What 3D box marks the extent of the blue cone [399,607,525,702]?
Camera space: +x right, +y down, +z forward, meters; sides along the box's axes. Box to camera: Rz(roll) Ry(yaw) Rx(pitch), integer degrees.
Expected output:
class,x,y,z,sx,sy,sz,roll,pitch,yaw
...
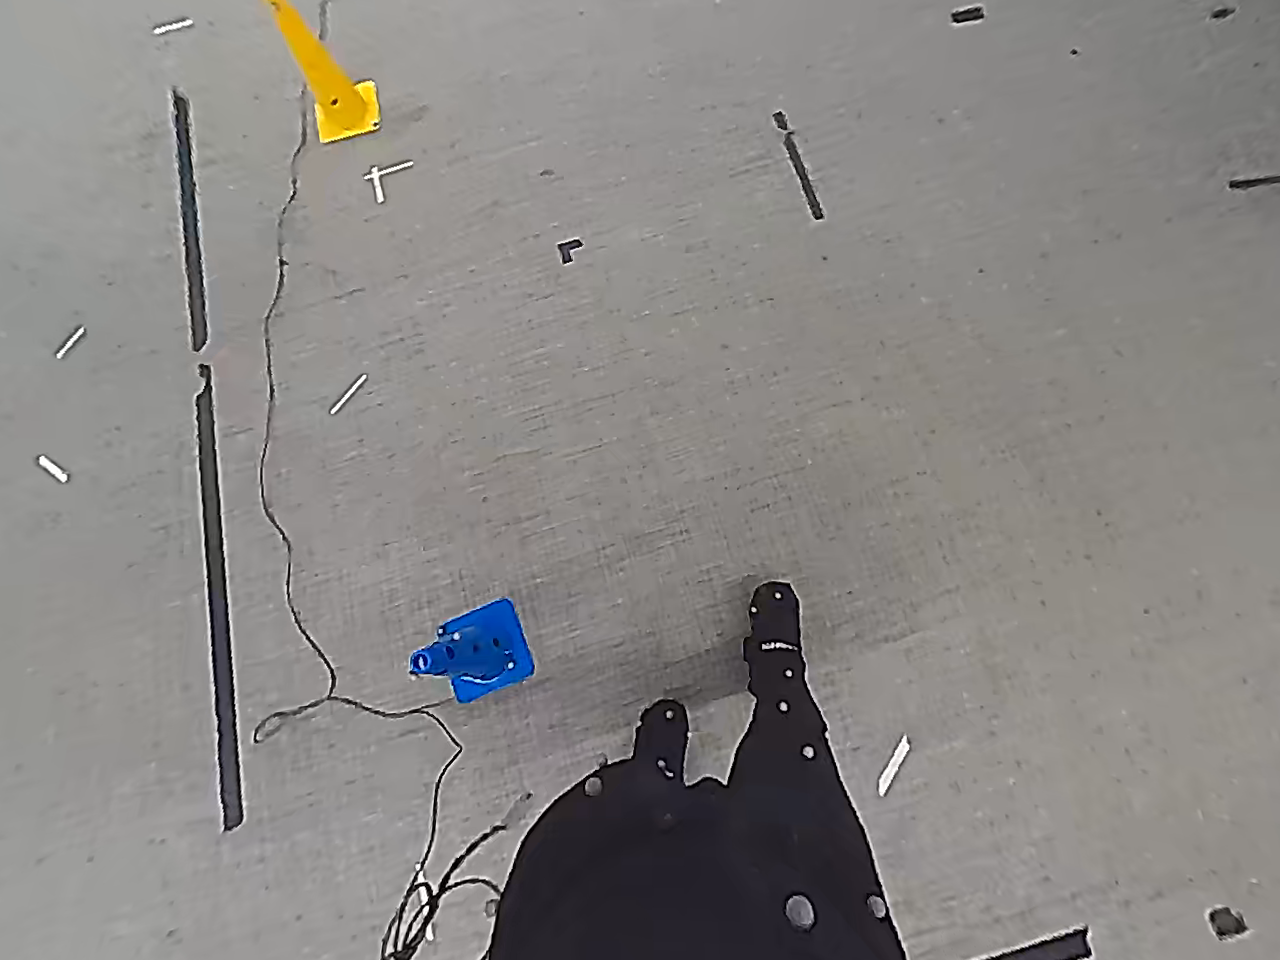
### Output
class,x,y,z,sx,sy,sz,roll,pitch,yaw
blue cone,-0.396,0.380,1.155,0.192,0.380,0.193,-21,76,-2
